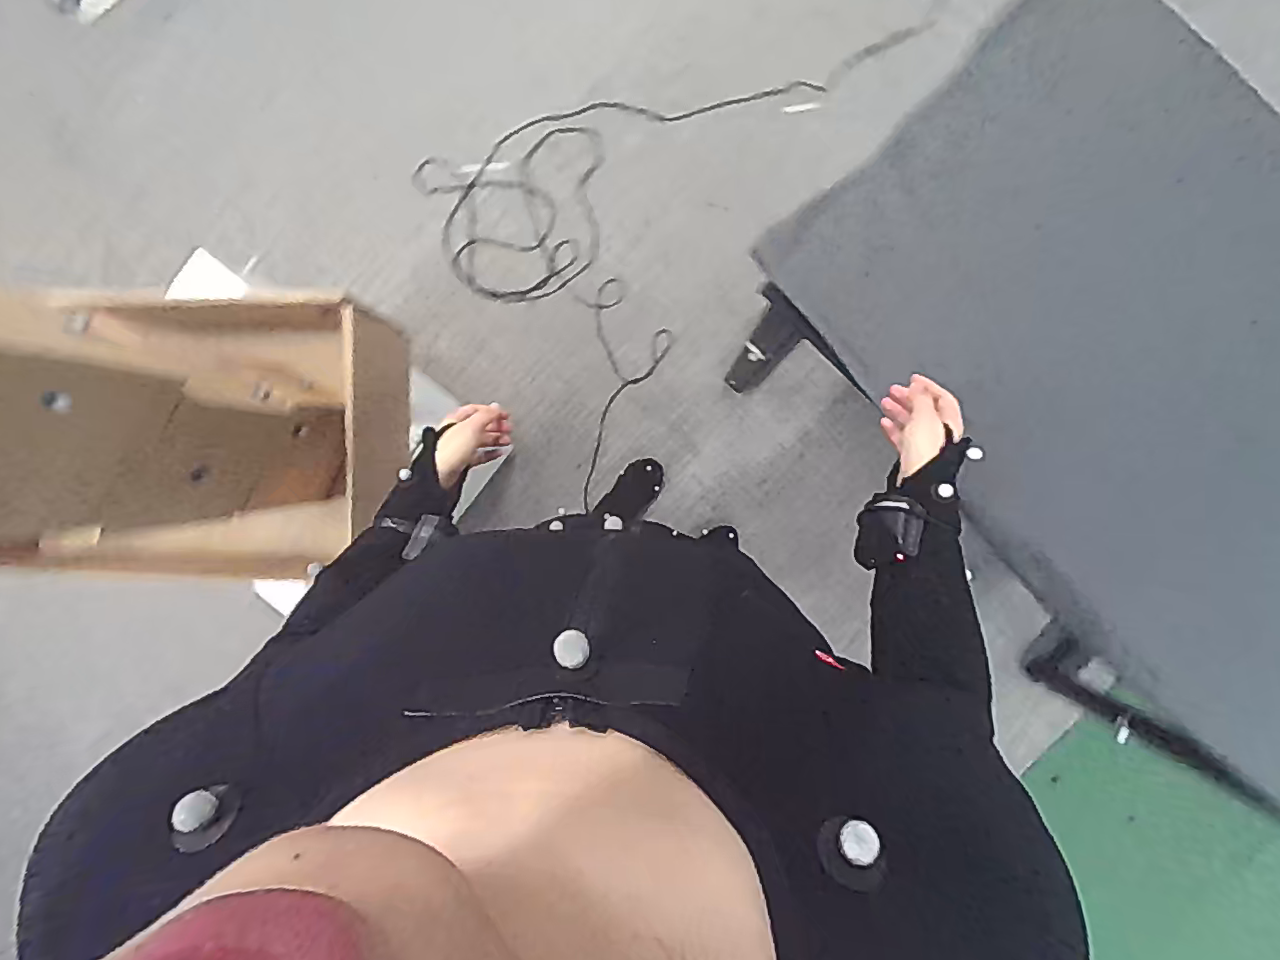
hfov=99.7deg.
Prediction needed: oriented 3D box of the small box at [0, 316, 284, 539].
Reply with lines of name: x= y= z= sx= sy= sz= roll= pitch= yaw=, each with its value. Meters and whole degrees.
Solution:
small box: x=-0.569 y=-0.059 z=0.637 sx=0.168 sy=0.176 sz=0.179 roll=34 pitch=96 yaw=3
